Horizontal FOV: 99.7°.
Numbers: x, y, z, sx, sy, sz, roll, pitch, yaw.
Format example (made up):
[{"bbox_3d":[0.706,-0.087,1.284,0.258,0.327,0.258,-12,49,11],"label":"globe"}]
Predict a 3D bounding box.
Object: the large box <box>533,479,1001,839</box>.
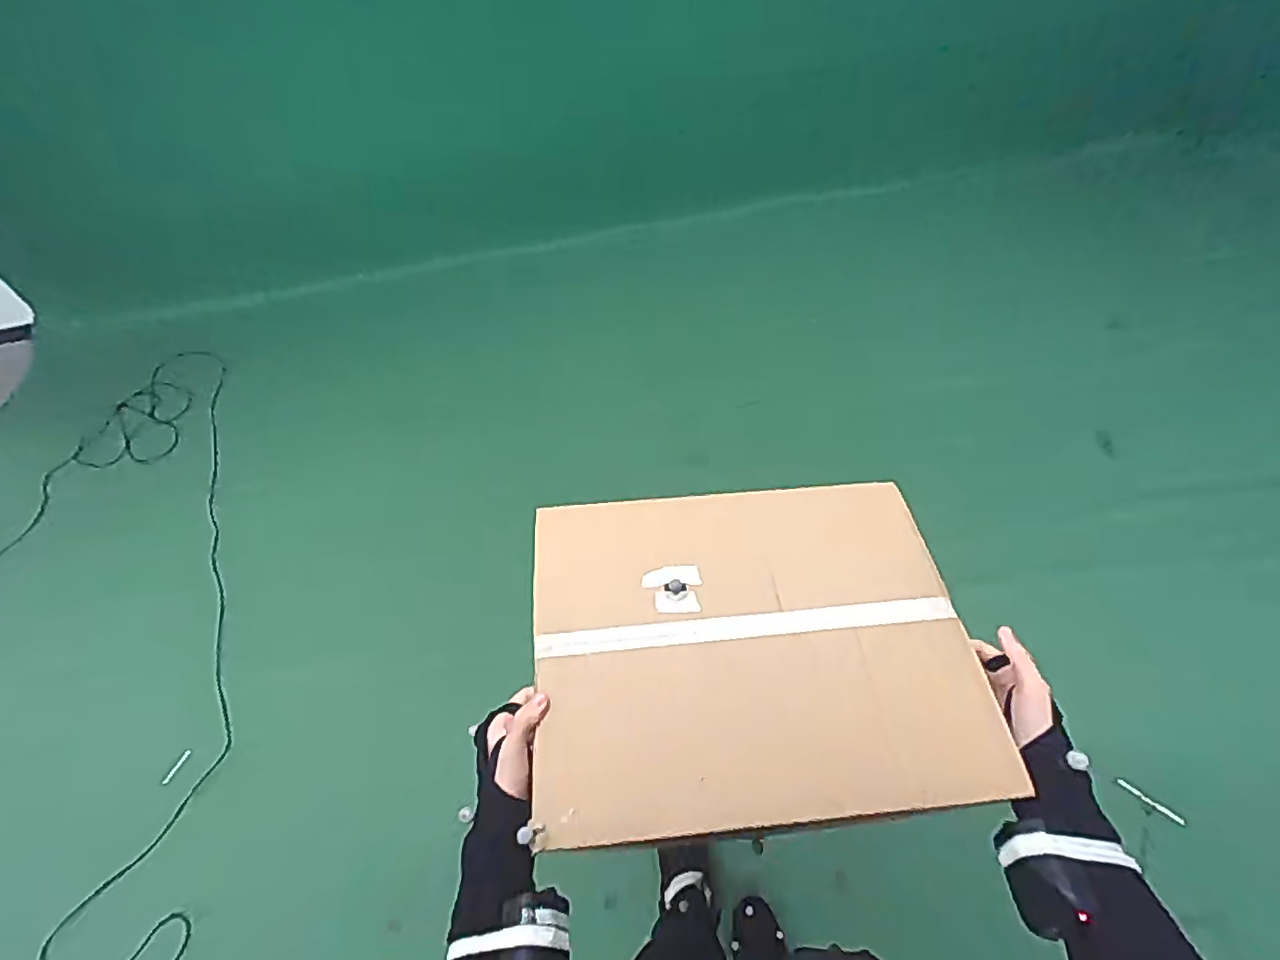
[{"bbox_3d":[0.098,0.225,0.650,0.408,0.320,0.320,-5,55,-3],"label":"large box"}]
